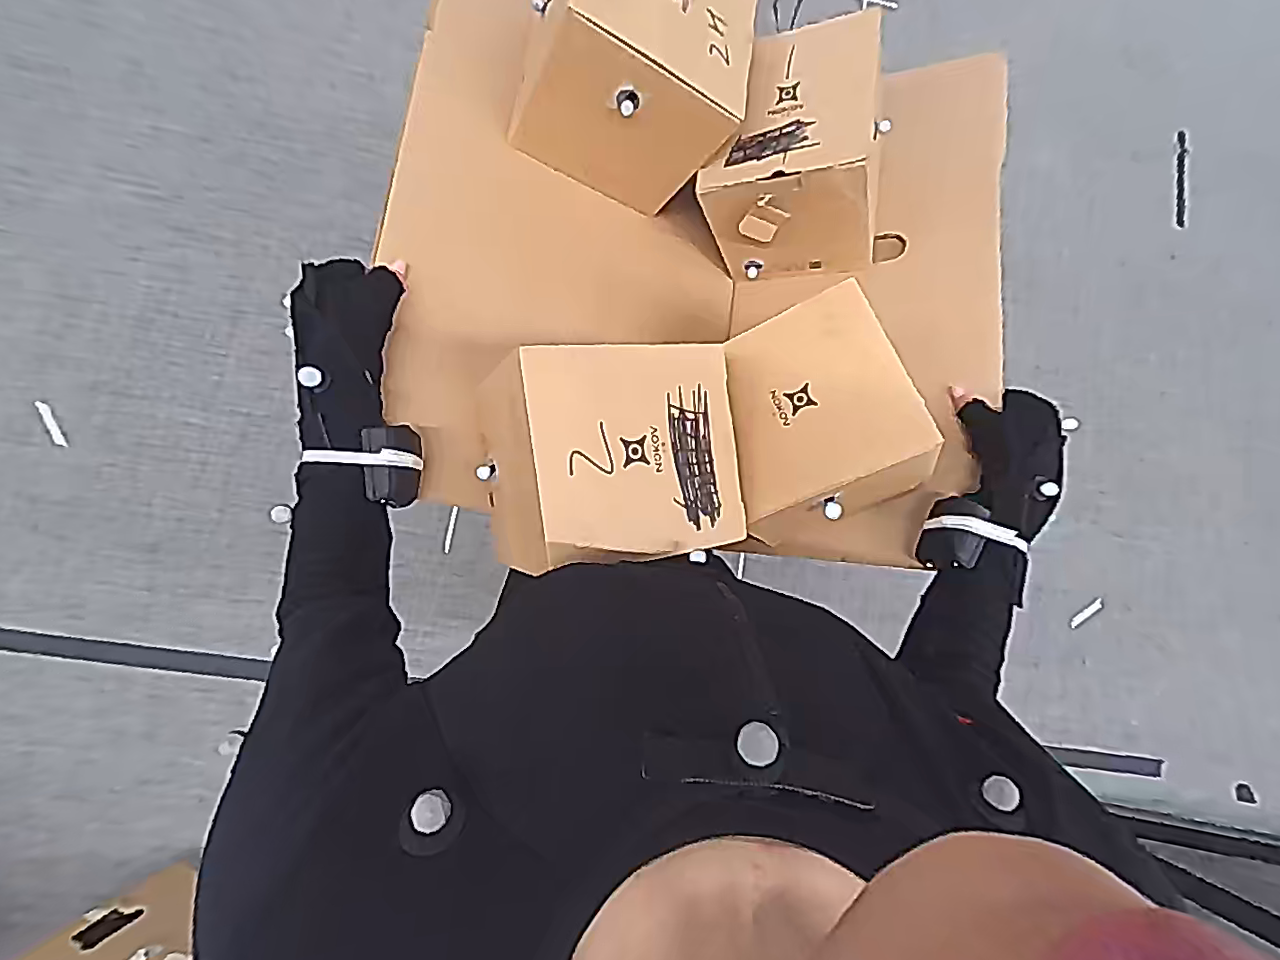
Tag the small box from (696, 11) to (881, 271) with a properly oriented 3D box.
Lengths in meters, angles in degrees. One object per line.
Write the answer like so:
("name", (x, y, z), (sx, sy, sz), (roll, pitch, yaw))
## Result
("small box", (0.175, -0.355, 0.608), (0.168, 0.176, 0.179), (5, 77, 24))
